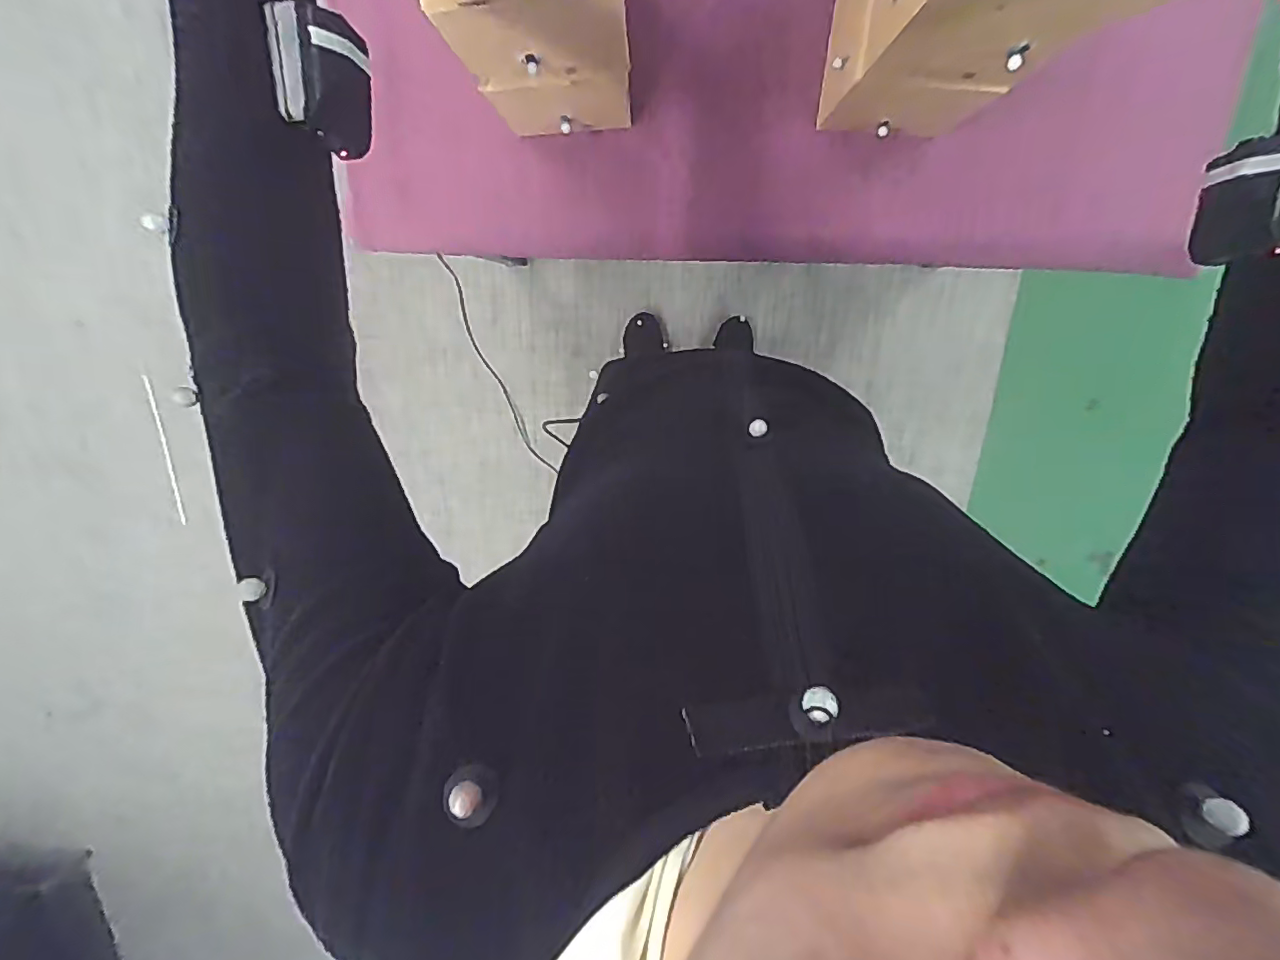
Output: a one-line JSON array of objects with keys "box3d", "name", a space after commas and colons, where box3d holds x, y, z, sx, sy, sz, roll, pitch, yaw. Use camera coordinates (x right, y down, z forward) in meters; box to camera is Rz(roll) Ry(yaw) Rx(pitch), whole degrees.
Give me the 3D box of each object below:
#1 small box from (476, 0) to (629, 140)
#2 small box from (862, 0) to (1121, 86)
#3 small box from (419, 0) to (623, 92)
[{"box3d": [-0.103, -0.546, 0.662, 0.168, 0.176, 0.179, -2, 107, 4], "name": "small box"}, {"box3d": [0.316, -0.485, 0.485, 0.168, 0.176, 0.179, 4, 107, 2], "name": "small box"}, {"box3d": [-0.109, -0.503, 0.505, 0.168, 0.176, 0.179, -5, 107, 4], "name": "small box"}]
